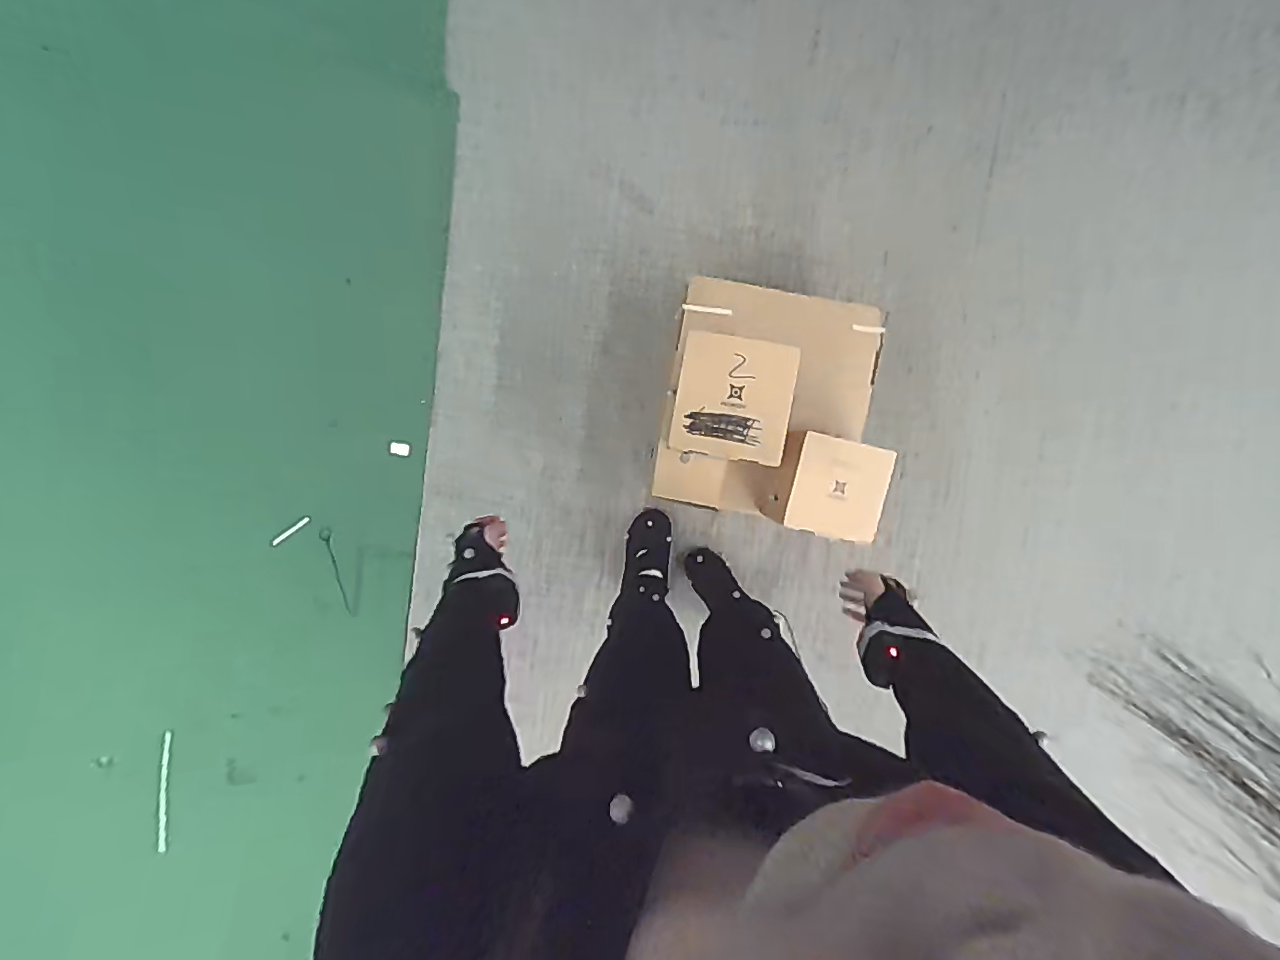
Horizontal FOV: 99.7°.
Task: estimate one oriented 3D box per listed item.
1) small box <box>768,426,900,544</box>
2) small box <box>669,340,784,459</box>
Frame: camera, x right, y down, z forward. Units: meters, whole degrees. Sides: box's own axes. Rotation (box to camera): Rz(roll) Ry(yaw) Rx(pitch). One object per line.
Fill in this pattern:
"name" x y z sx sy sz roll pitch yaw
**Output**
"small box" 0.352 0.004 1.016 0.168 0.176 0.179 14 93 -1
"small box" 0.151 -0.143 1.011 0.168 0.176 0.179 14 93 1
